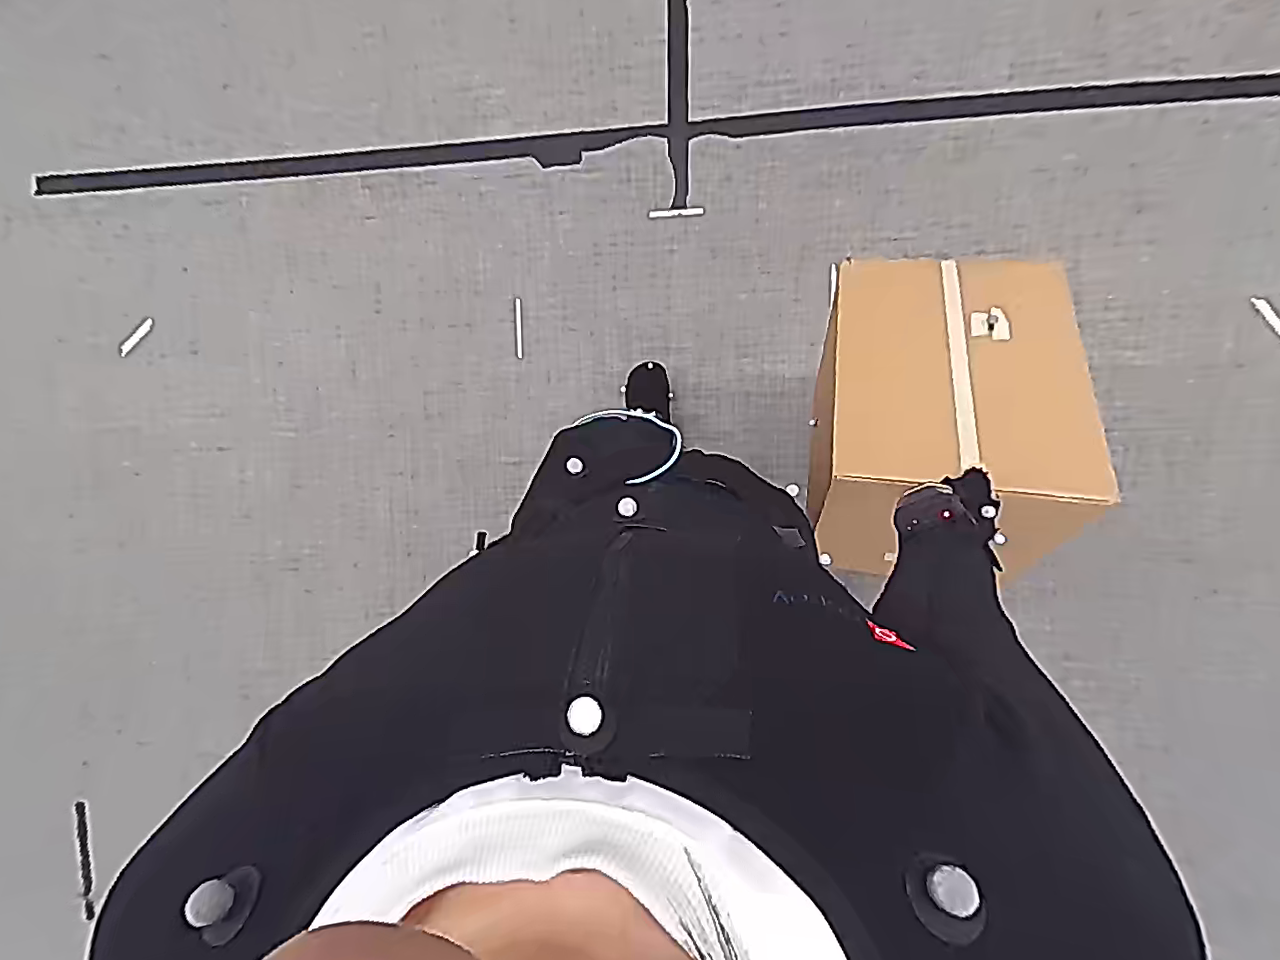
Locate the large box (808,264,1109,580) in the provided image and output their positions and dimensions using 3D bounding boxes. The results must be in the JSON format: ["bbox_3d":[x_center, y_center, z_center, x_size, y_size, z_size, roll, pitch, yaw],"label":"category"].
[{"bbox_3d":[0.453,-0.089,0.883,0.320,0.320,0.408,6,60,11],"label":"large box"}]
